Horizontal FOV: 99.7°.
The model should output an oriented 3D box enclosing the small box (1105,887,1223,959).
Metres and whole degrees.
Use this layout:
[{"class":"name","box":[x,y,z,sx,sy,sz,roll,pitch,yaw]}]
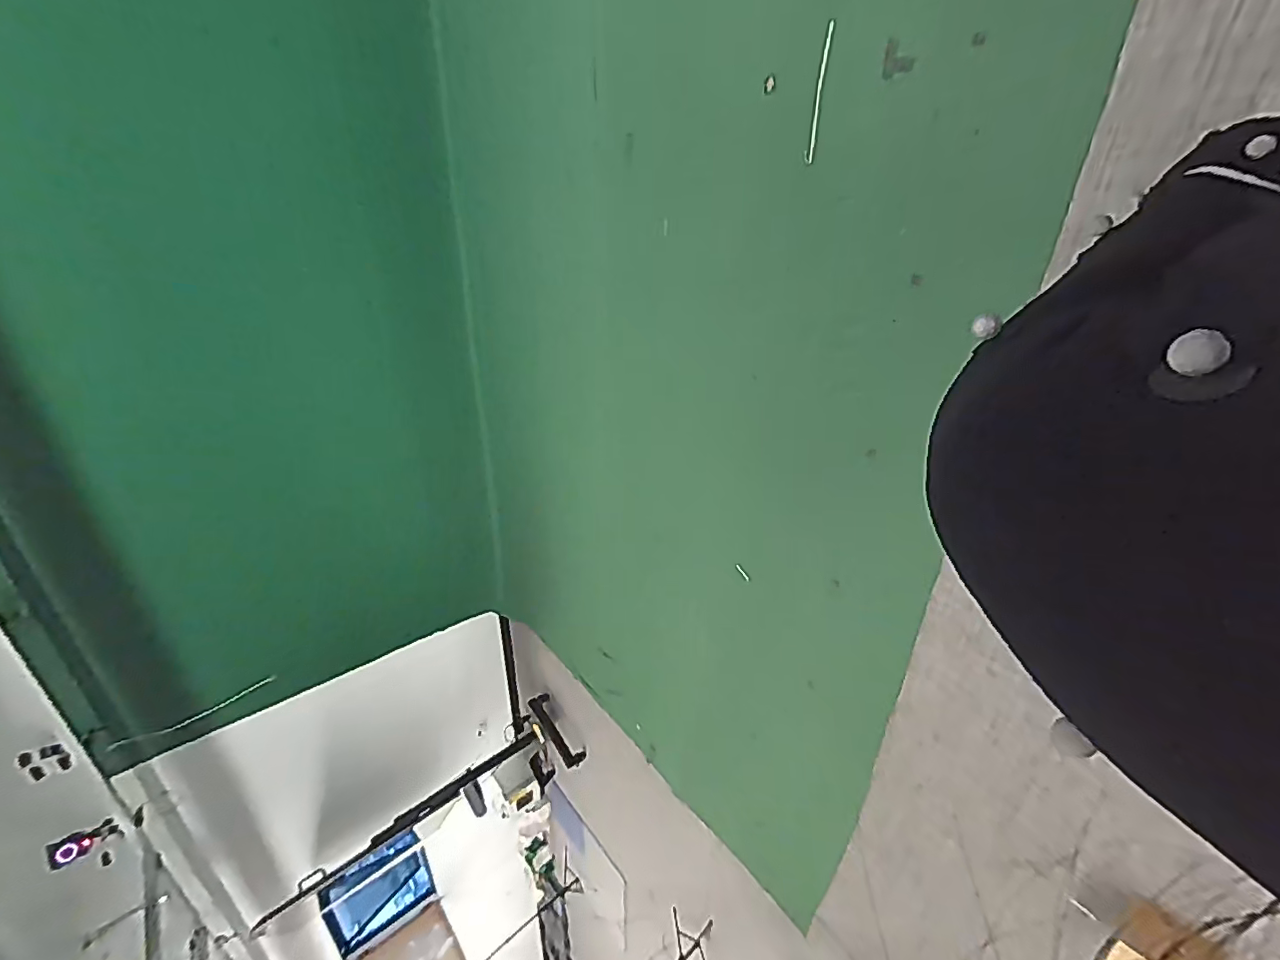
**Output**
[{"class":"small box","box":[1.291,1.168,1.334,0.168,0.176,0.179,26,125,45]}]
